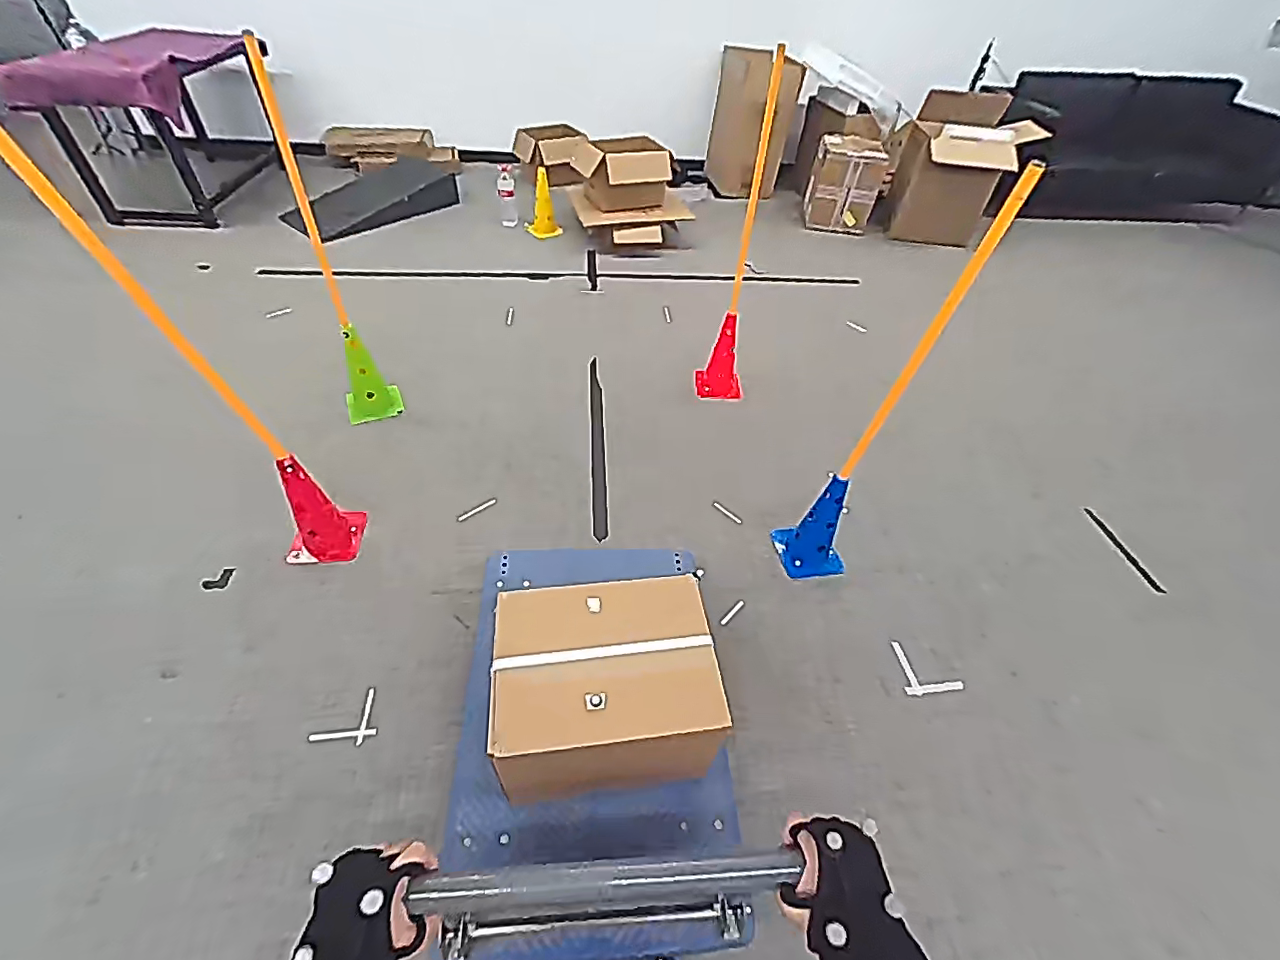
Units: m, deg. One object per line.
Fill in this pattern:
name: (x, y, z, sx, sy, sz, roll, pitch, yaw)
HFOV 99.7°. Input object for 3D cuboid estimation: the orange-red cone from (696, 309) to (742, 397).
orange-red cone: (0.363, -0.552, 2.279, 0.199, 0.360, 0.198, 4, 47, -2)

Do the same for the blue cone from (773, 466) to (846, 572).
blue cone: (0.568, 0.109, 1.687, 0.193, 0.380, 0.192, -4, 46, -9)
